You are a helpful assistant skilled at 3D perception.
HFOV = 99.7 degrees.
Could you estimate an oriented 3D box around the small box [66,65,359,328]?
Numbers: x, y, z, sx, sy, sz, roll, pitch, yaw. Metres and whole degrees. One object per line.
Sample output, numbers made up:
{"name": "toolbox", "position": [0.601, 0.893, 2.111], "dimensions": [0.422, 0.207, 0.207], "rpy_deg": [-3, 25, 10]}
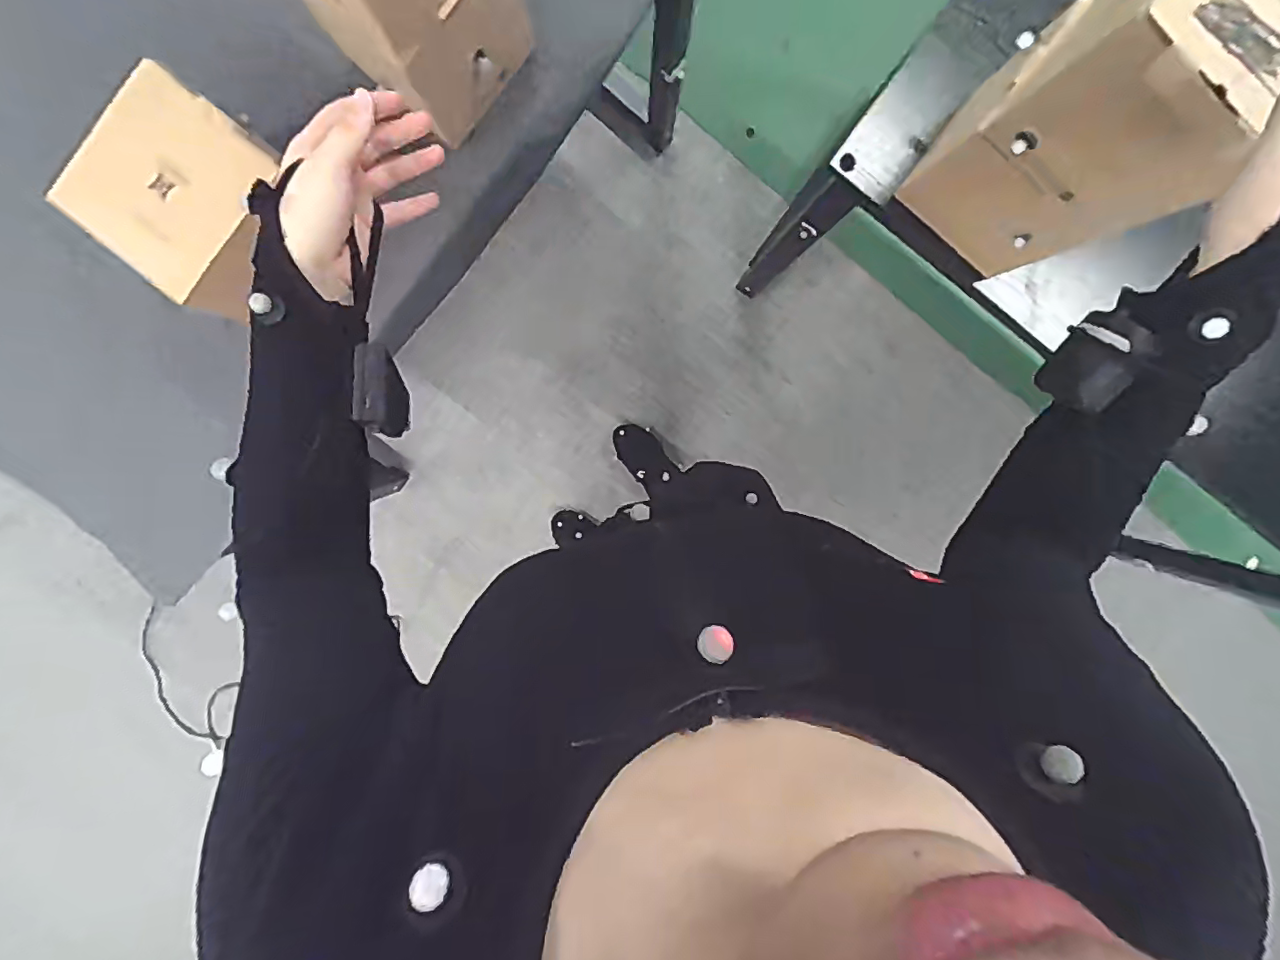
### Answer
{"name": "small box", "position": [-0.462, -0.301, 0.621], "dimensions": [0.168, 0.176, 0.179], "rpy_deg": [40, 96, -3]}

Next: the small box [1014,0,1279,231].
{"name": "small box", "position": [0.469, -0.351, 0.460], "dimensions": [0.168, 0.176, 0.179], "rpy_deg": [40, 95, -7]}

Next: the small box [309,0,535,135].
{"name": "small box", "position": [-0.239, -0.523, 0.592], "dimensions": [0.179, 0.176, 0.168], "rpy_deg": [40, 96, -5]}

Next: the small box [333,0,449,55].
{"name": "small box", "position": [-0.234, -0.510, 0.430], "dimensions": [0.168, 0.176, 0.179], "rpy_deg": [39, 96, -4]}
